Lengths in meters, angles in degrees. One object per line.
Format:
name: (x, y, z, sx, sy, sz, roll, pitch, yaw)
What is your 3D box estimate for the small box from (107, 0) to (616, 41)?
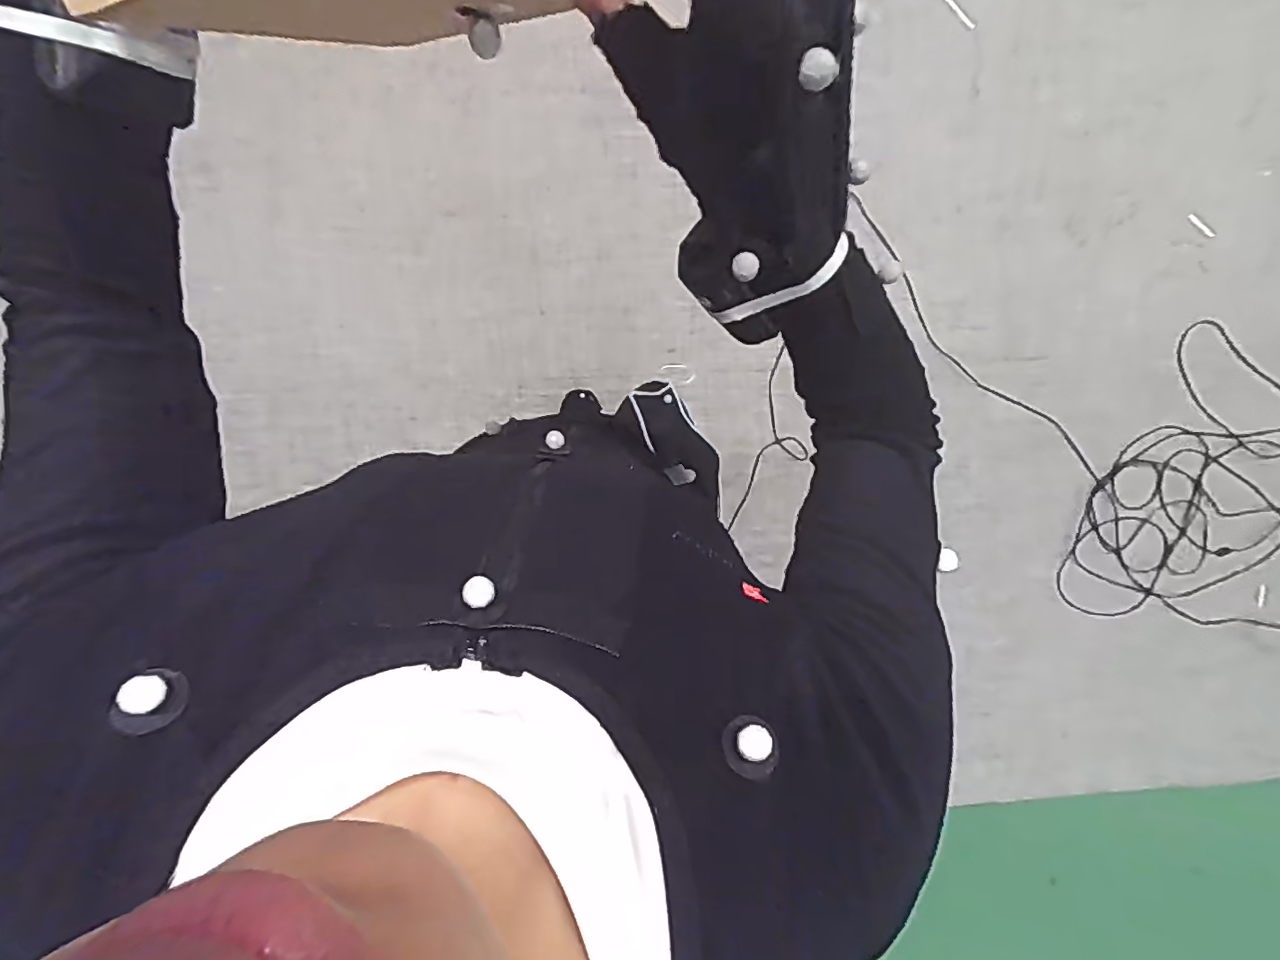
small box: (-0.096, -0.275, 0.188, 0.179, 0.176, 0.168, 8, 125, 22)
